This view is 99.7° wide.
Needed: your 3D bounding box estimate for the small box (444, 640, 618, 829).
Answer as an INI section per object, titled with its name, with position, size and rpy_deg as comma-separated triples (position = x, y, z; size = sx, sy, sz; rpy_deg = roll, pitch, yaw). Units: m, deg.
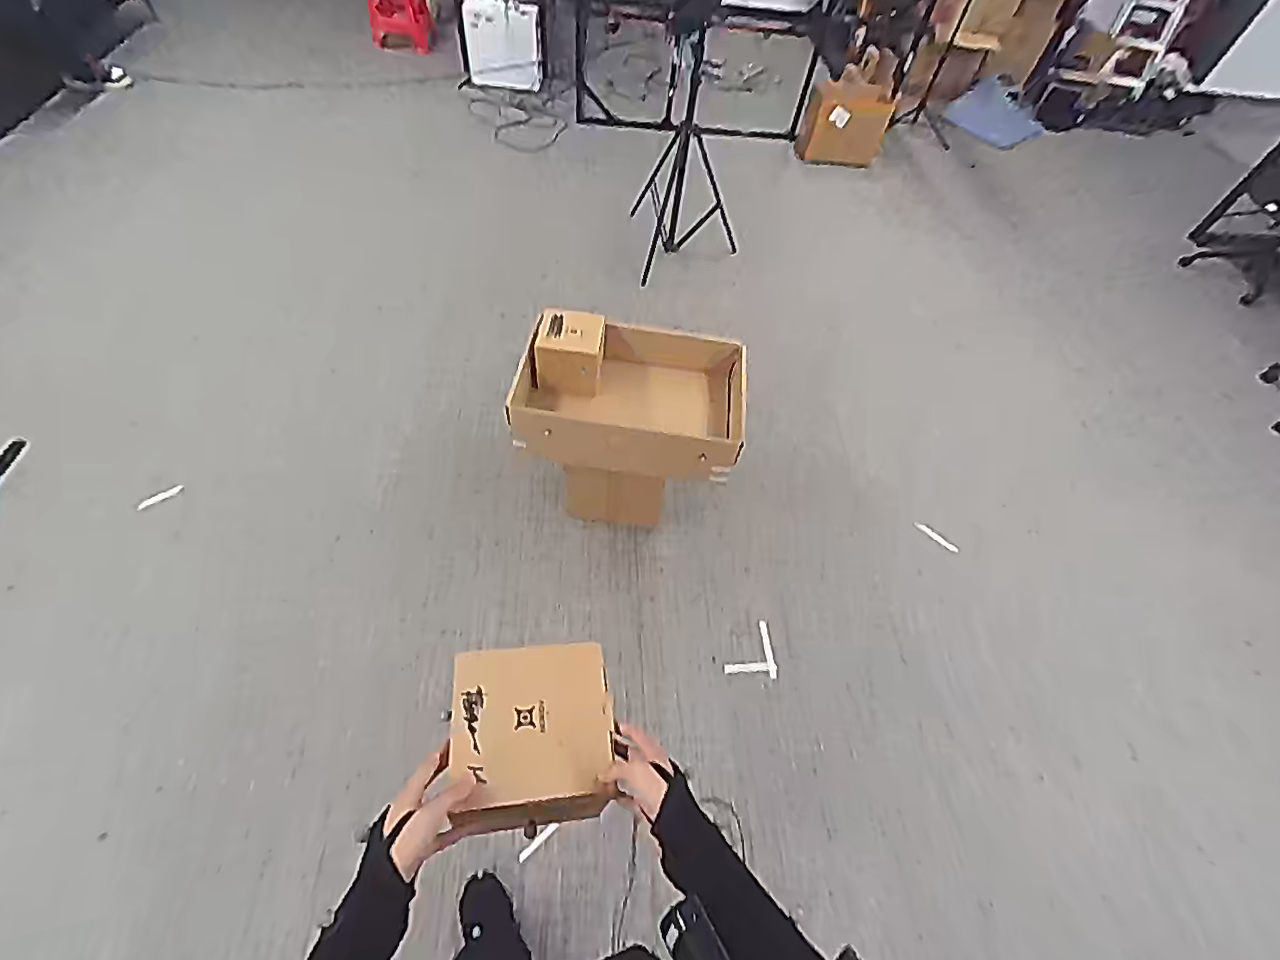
[small box]
position = -0.132, 0.307, 0.653
size = 0.179, 0.176, 0.168
rpy_deg = 2, 50, -14
